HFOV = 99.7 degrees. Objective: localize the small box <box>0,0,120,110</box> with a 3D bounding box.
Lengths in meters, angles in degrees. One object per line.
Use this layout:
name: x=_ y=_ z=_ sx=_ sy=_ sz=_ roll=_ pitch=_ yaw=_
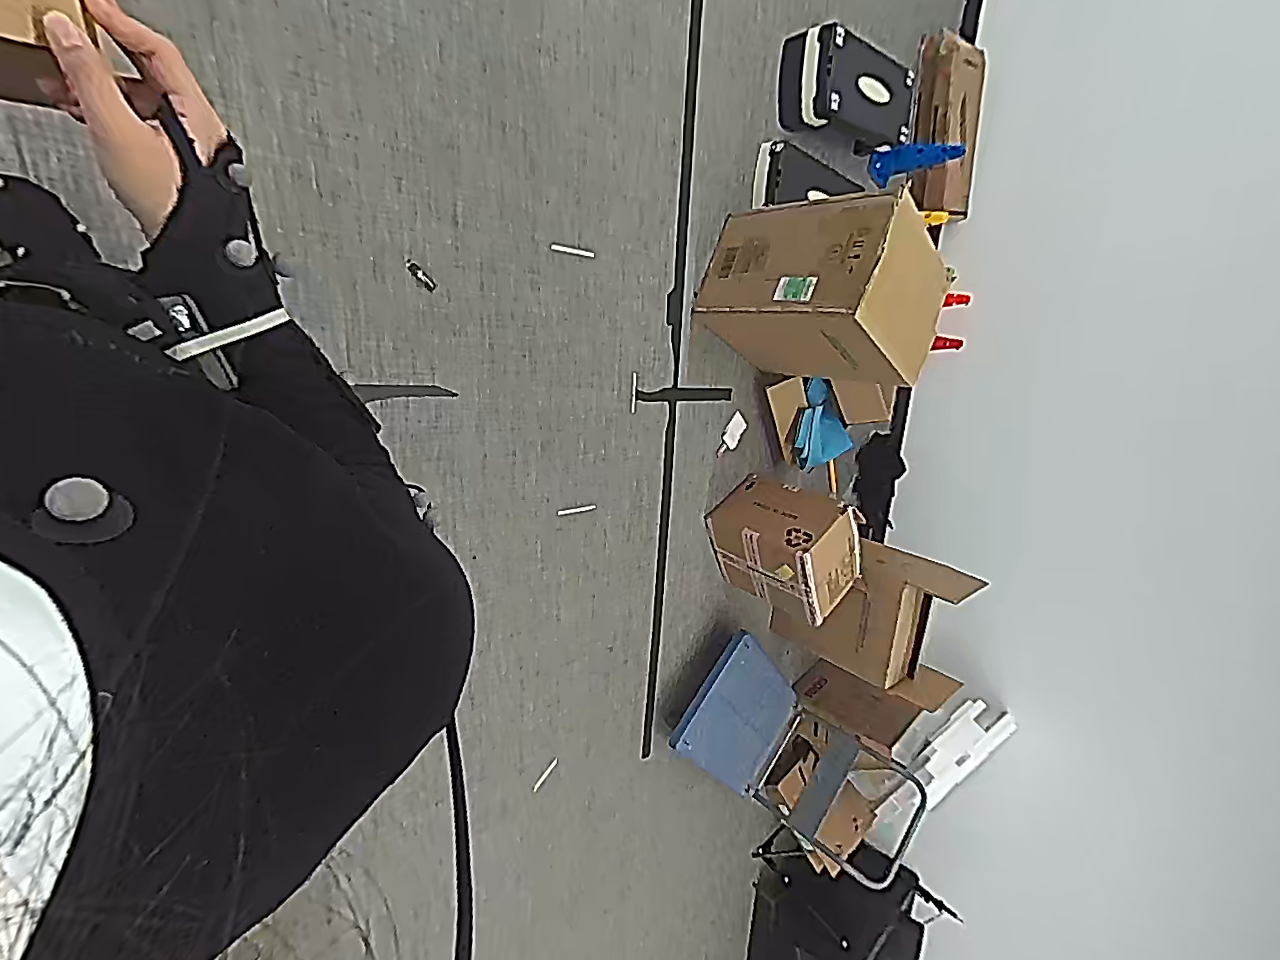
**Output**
small box: x=-0.402 y=-0.313 z=0.271 sx=0.179 sy=0.176 sz=0.168 roll=-11 pitch=114 yaw=-38
